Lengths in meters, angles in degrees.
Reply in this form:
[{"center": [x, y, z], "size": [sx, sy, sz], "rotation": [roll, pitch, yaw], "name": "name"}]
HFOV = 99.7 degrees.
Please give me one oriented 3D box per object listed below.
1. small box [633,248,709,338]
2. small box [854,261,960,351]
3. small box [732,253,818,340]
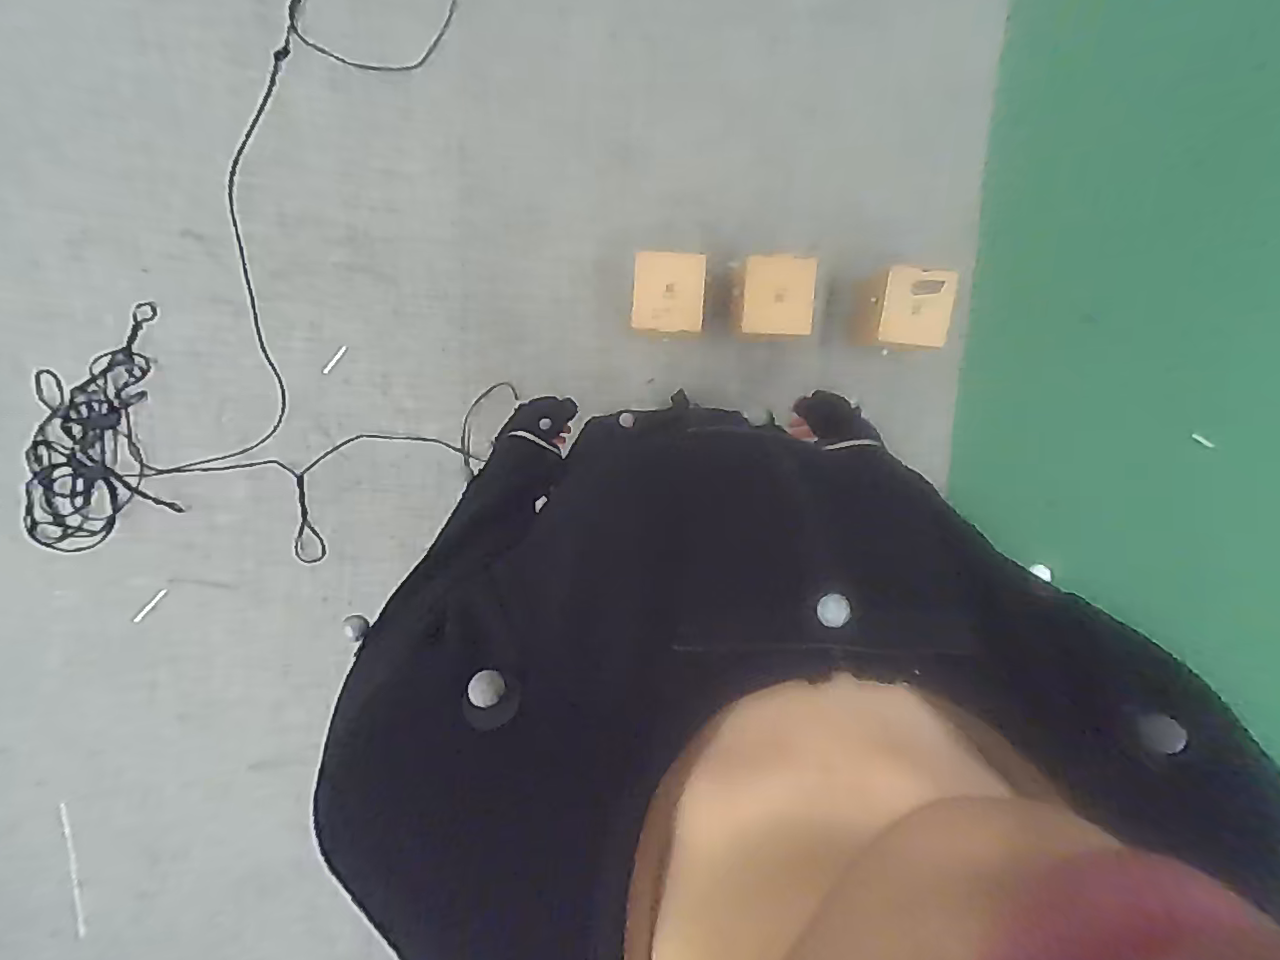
[{"center": [0.070, -0.450, 1.323], "size": [0.168, 0.176, 0.179], "rotation": [3, 99, 0], "name": "small box"}, {"center": [0.650, -0.423, 1.336], "size": [0.168, 0.176, 0.179], "rotation": [6, 99, -1], "name": "small box"}, {"center": [0.325, -0.444, 1.330], "size": [0.168, 0.176, 0.179], "rotation": [2, 98, -1], "name": "small box"}]
